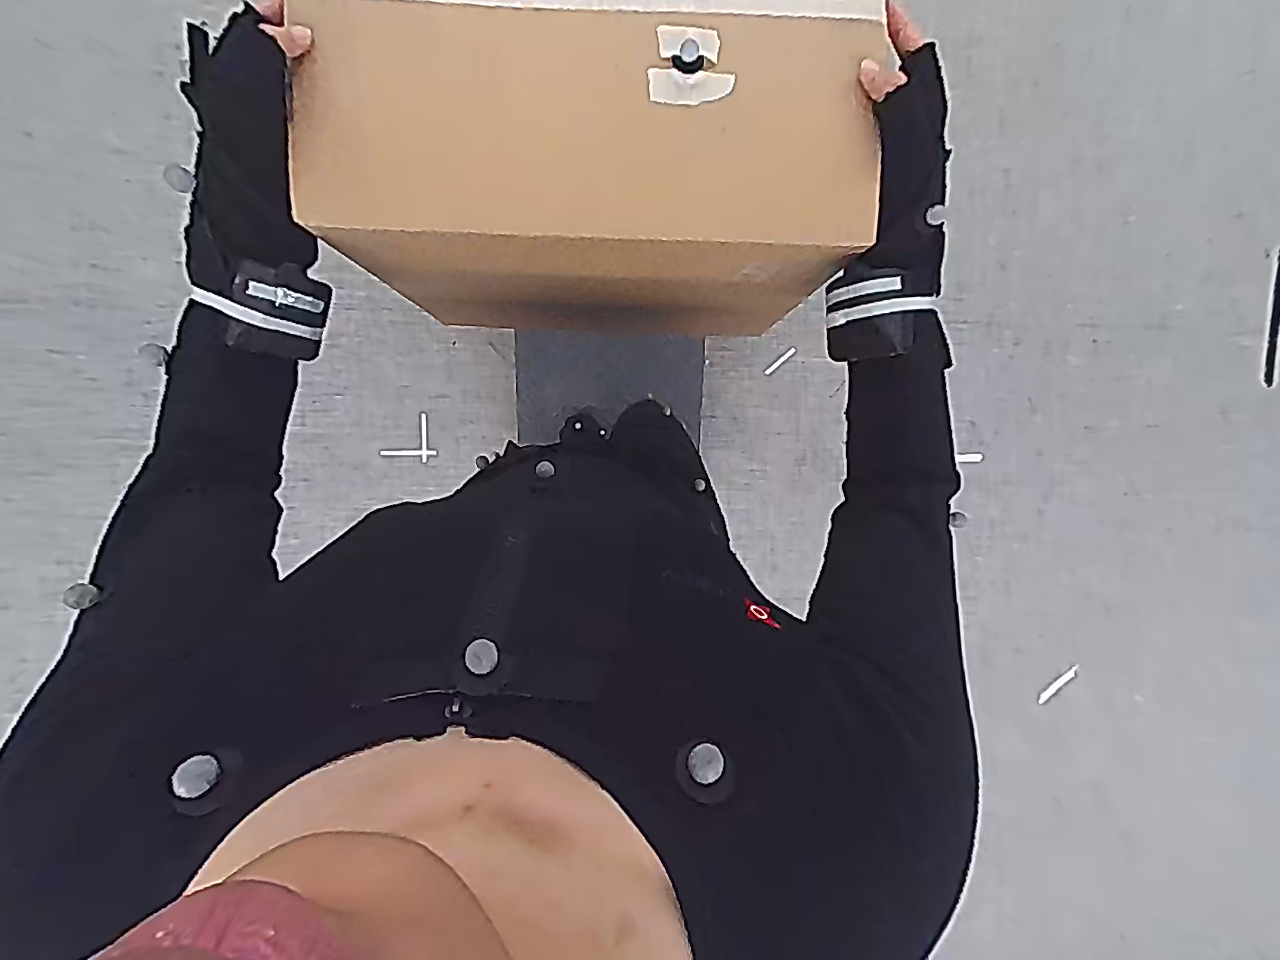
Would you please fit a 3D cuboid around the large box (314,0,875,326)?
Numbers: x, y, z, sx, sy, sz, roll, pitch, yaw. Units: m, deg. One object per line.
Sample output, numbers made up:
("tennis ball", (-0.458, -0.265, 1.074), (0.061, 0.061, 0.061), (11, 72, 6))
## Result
("large box", (-0.035, -0.343, 0.532), (0.408, 0.320, 0.320), (1, 93, -2))
